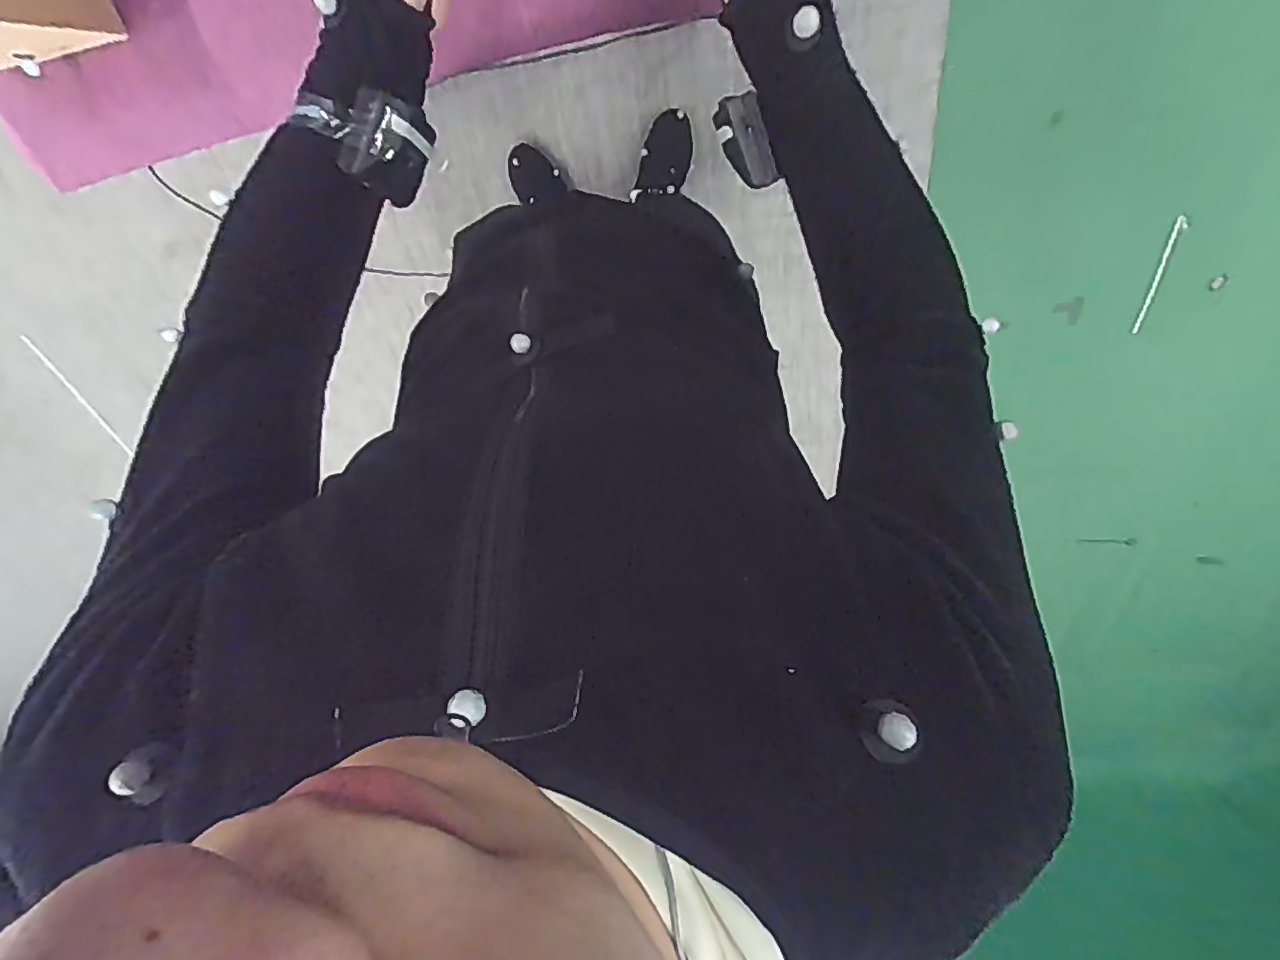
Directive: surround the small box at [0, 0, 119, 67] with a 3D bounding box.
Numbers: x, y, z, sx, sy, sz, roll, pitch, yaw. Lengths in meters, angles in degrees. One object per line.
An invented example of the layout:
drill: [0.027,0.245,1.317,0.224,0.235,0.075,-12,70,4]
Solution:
small box: [-0.661,-0.501,0.491,0.168,0.176,0.179,-8,126,6]
